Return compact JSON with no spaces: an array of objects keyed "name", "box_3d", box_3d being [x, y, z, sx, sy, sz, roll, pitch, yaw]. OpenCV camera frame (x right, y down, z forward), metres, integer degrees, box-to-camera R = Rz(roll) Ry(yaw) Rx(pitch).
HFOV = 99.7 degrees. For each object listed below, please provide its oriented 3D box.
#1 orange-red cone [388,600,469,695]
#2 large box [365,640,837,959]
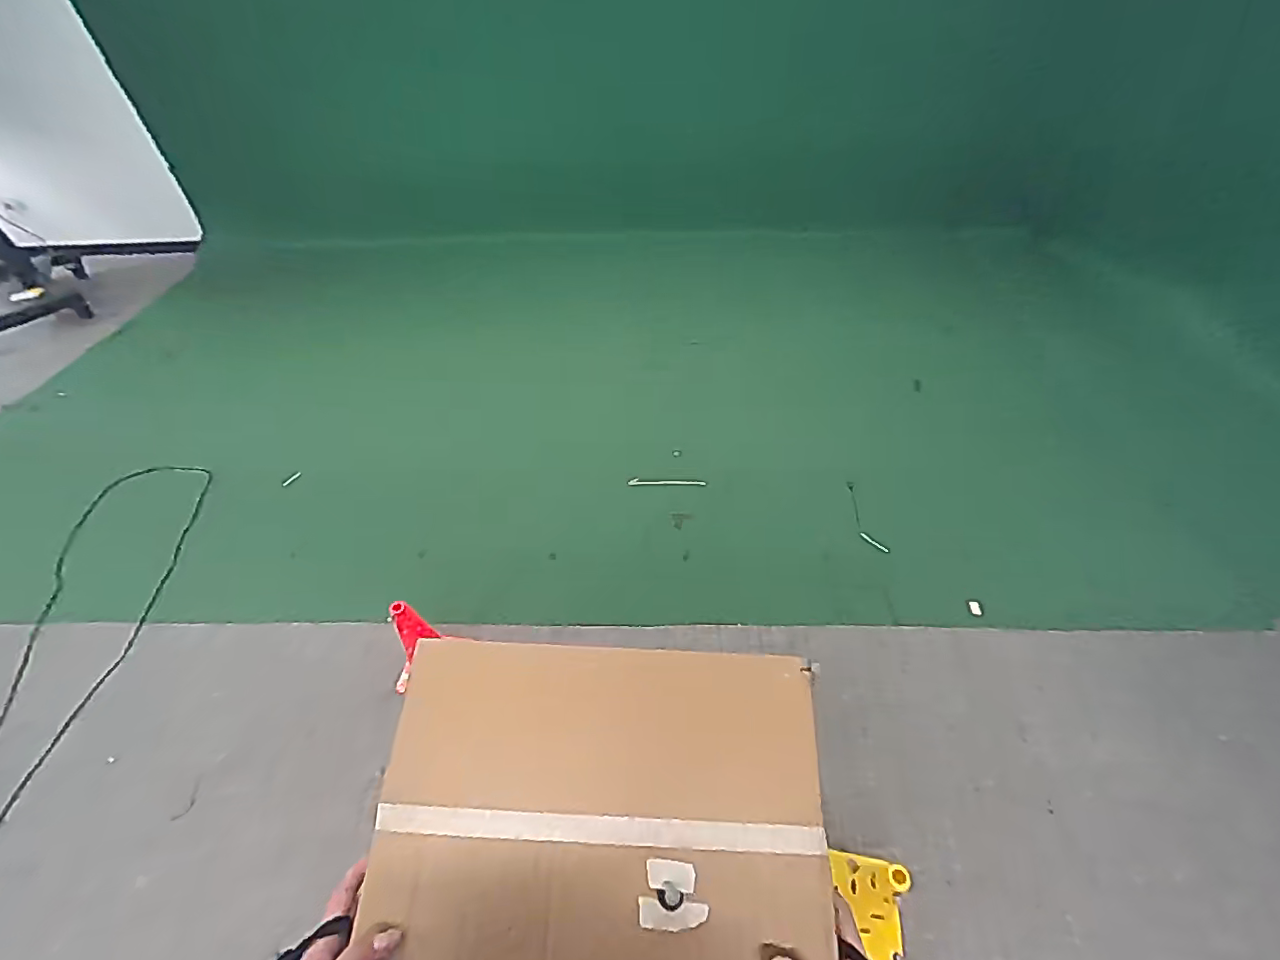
[{"name":"orange-red cone","box_3d":[-0.659,0.467,1.590,0.199,0.360,0.198,4,46,9]},{"name":"large box","box_3d":[-0.032,0.377,0.632,0.408,0.320,0.320,2,64,1]}]
